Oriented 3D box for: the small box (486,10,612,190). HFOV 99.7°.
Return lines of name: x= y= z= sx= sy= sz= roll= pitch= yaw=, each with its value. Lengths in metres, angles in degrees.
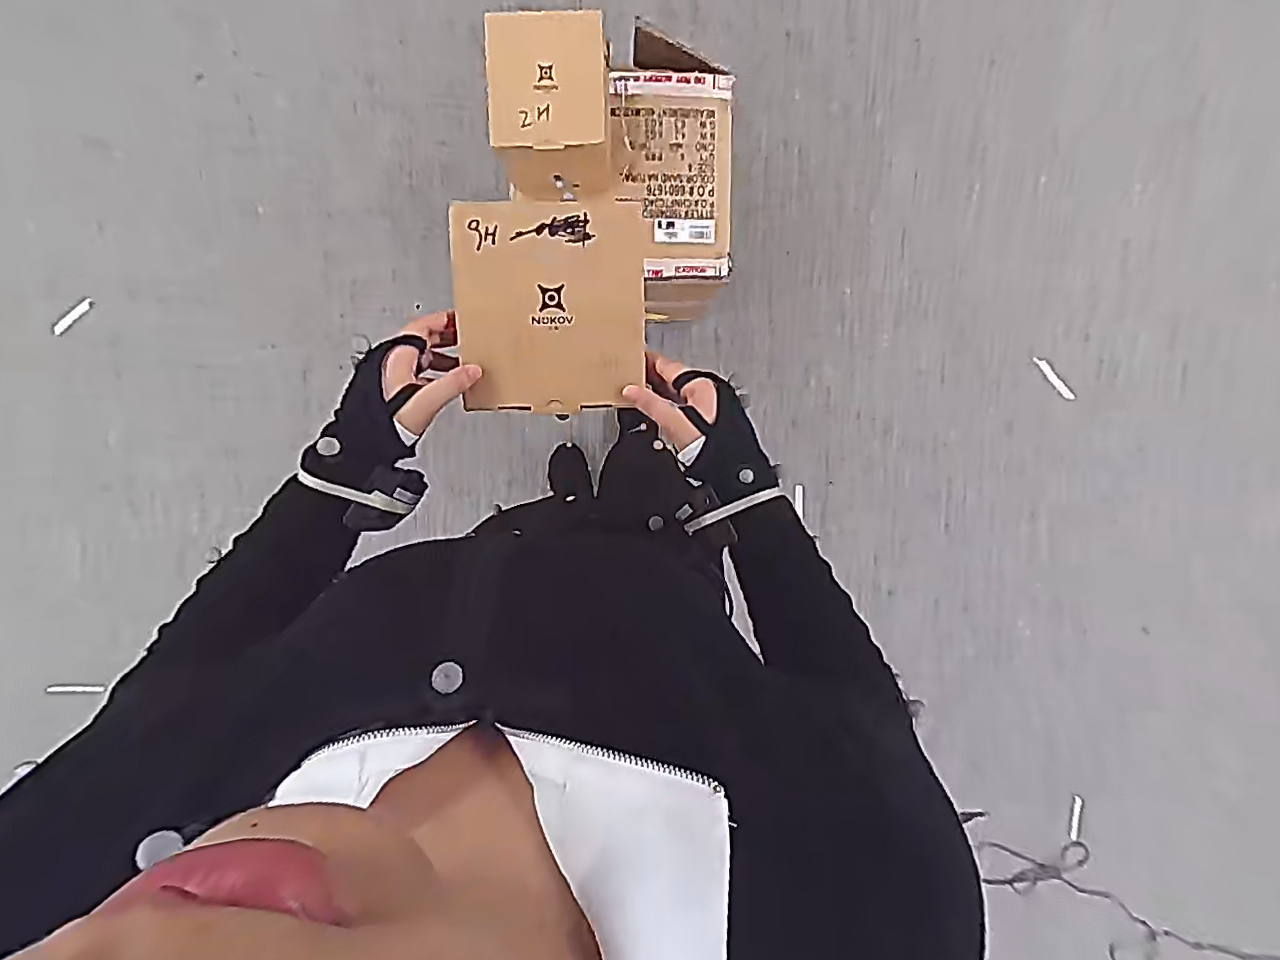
small box: x=-0.131 y=-0.574 z=0.839 sx=0.168 sy=0.176 sz=0.179 roll=-1 pitch=99 yaw=1
